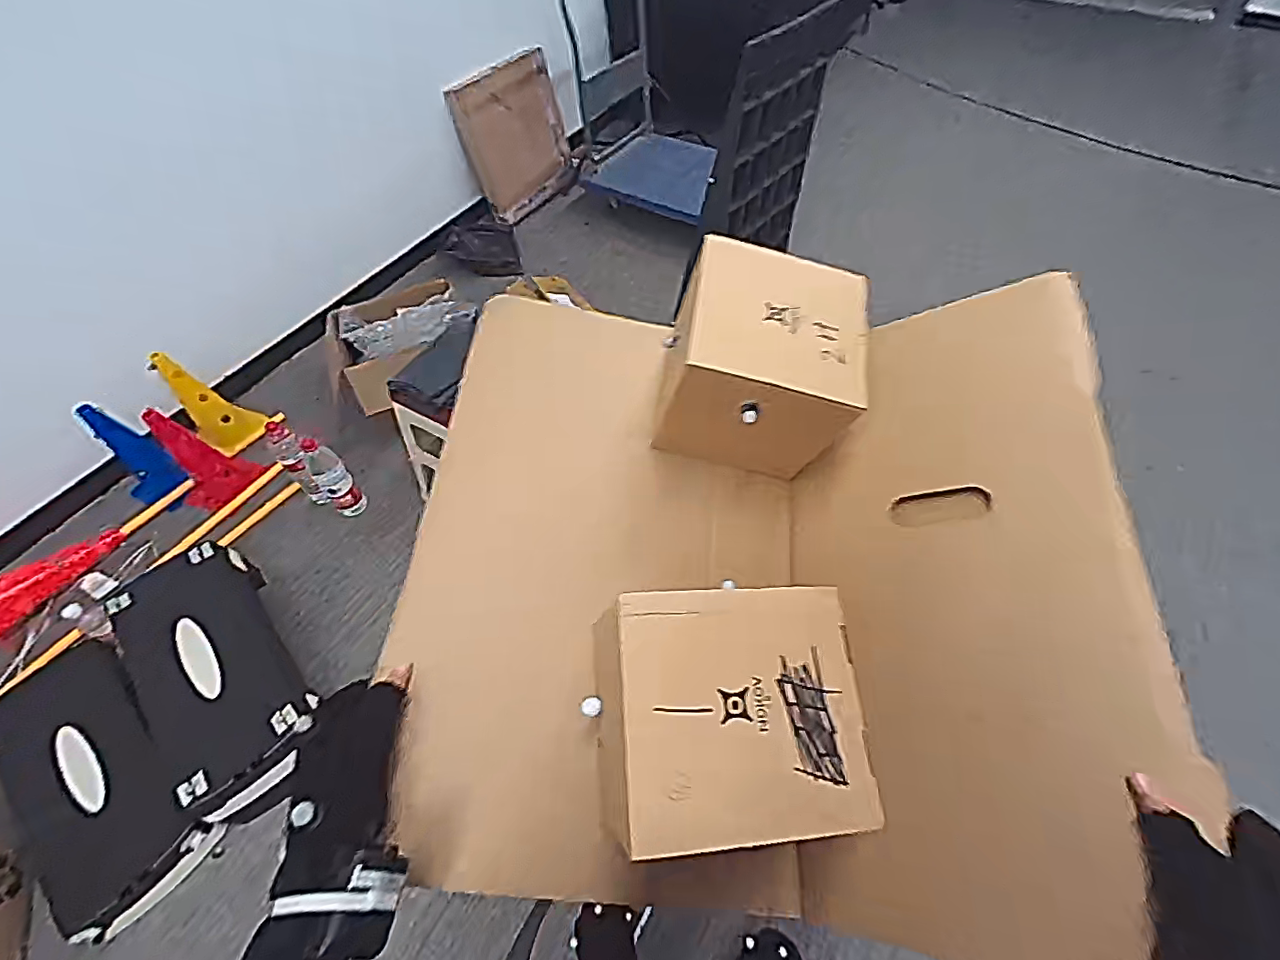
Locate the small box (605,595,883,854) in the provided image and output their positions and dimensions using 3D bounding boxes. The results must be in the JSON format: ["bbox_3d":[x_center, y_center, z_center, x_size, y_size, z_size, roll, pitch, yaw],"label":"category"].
[{"bbox_3d":[0.067,0.194,0.458,0.179,0.176,0.168,2,67,-9],"label":"small box"}]
